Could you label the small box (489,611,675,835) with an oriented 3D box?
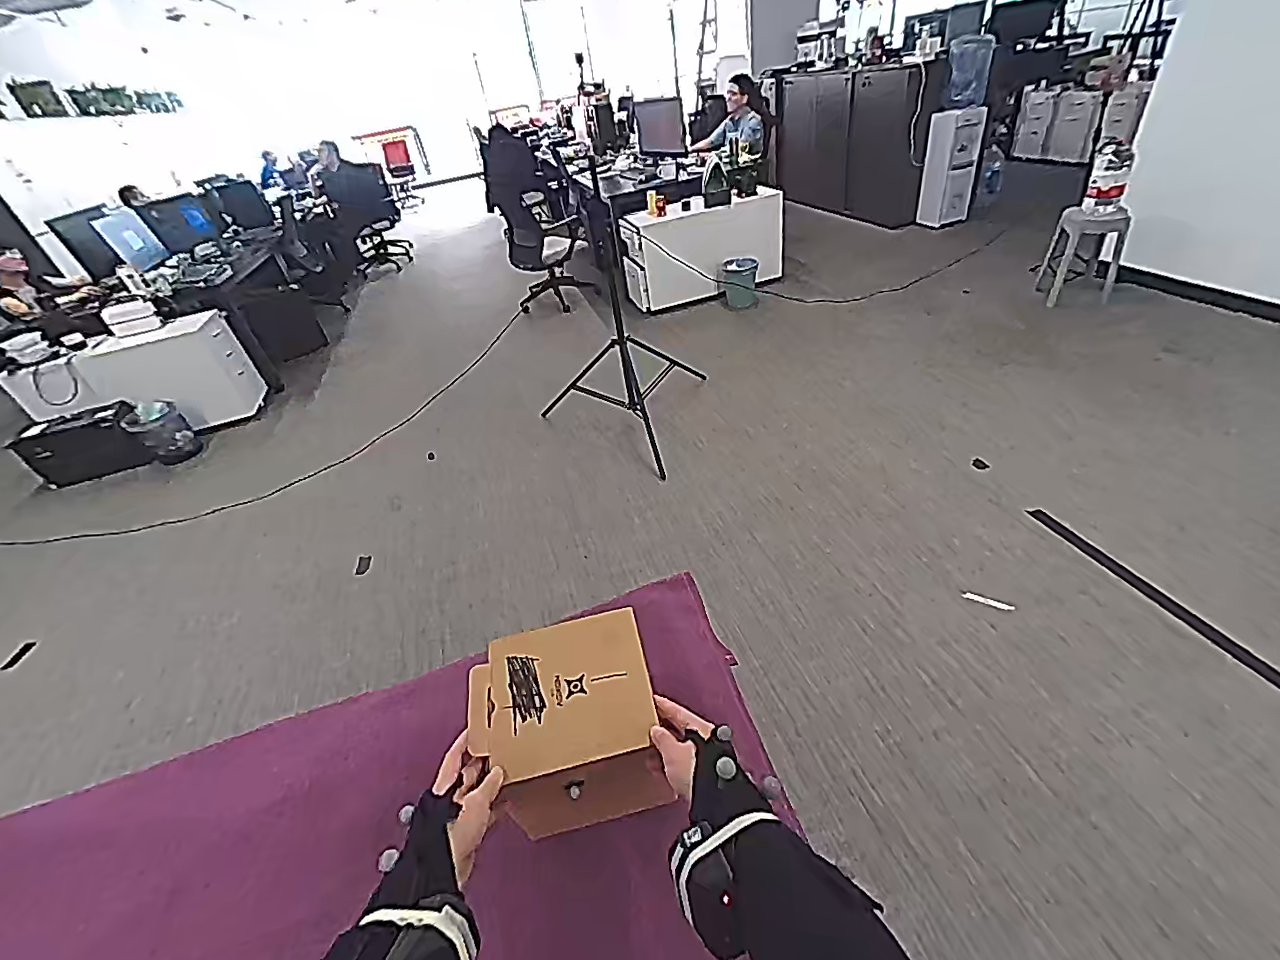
[{"bbox_3d":[-0.066,0.286,0.636,0.179,0.176,0.168,-13,42,-4],"label":"small box"}]
